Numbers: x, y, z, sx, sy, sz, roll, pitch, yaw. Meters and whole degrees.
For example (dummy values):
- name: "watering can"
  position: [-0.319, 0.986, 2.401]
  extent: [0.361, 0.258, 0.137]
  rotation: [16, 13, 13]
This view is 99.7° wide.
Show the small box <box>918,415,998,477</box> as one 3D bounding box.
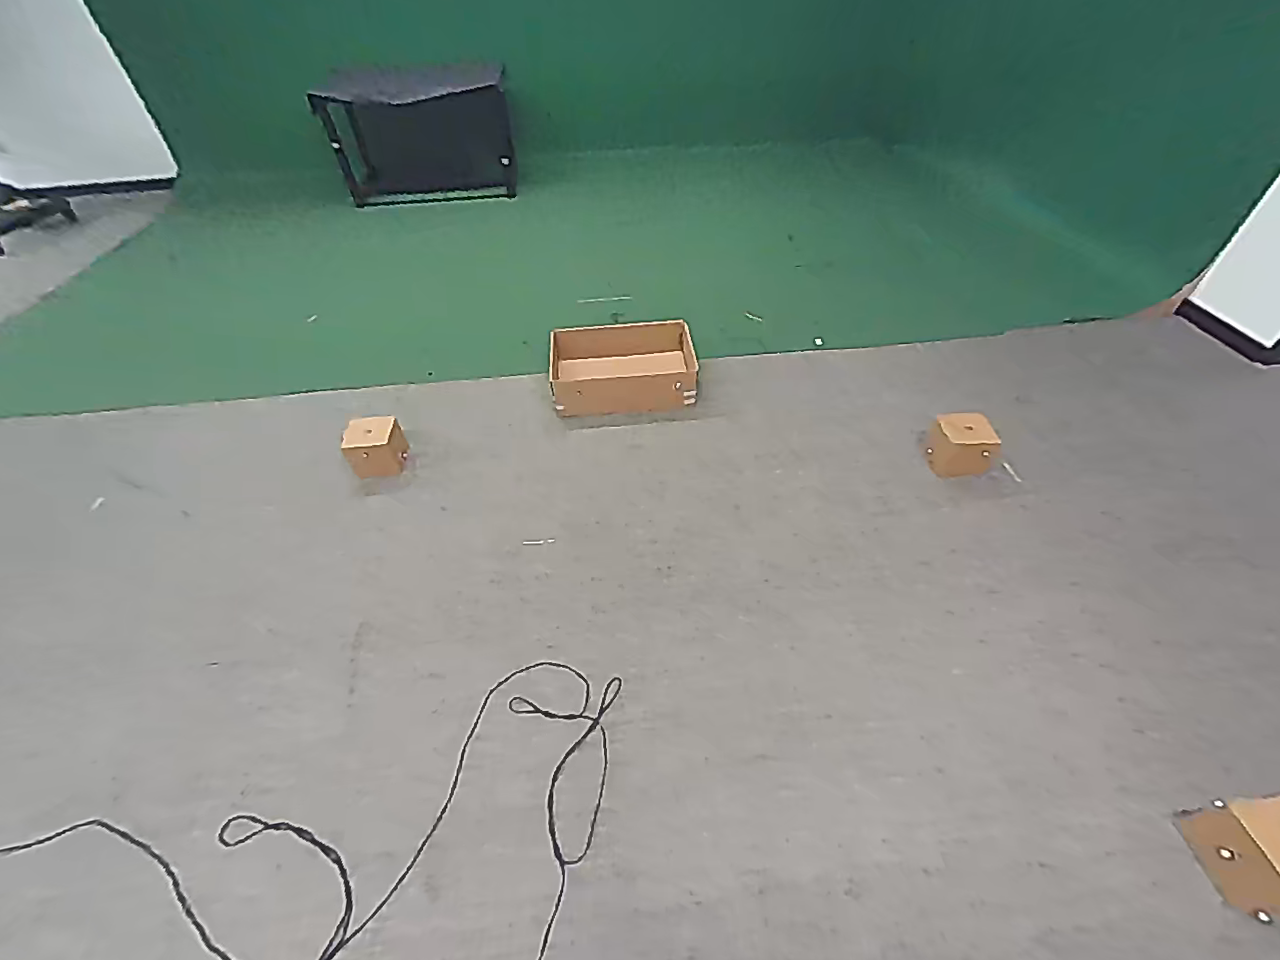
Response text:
- name: "small box"
  position: [1.175, -0.123, 2.011]
  extent: [0.179, 0.176, 0.168]
  rotation: [-1, 46, 1]

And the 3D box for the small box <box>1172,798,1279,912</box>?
- name: "small box"
  position: [1.316, 0.797, 1.146]
  extent: [0.168, 0.176, 0.179]
  rotation: [-5, 46, -2]

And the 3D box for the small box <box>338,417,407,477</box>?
- name: "small box"
  position: [-1.032, -0.125, 2.099]
  extent: [0.179, 0.176, 0.168]
  rotation: [-5, 48, -5]
